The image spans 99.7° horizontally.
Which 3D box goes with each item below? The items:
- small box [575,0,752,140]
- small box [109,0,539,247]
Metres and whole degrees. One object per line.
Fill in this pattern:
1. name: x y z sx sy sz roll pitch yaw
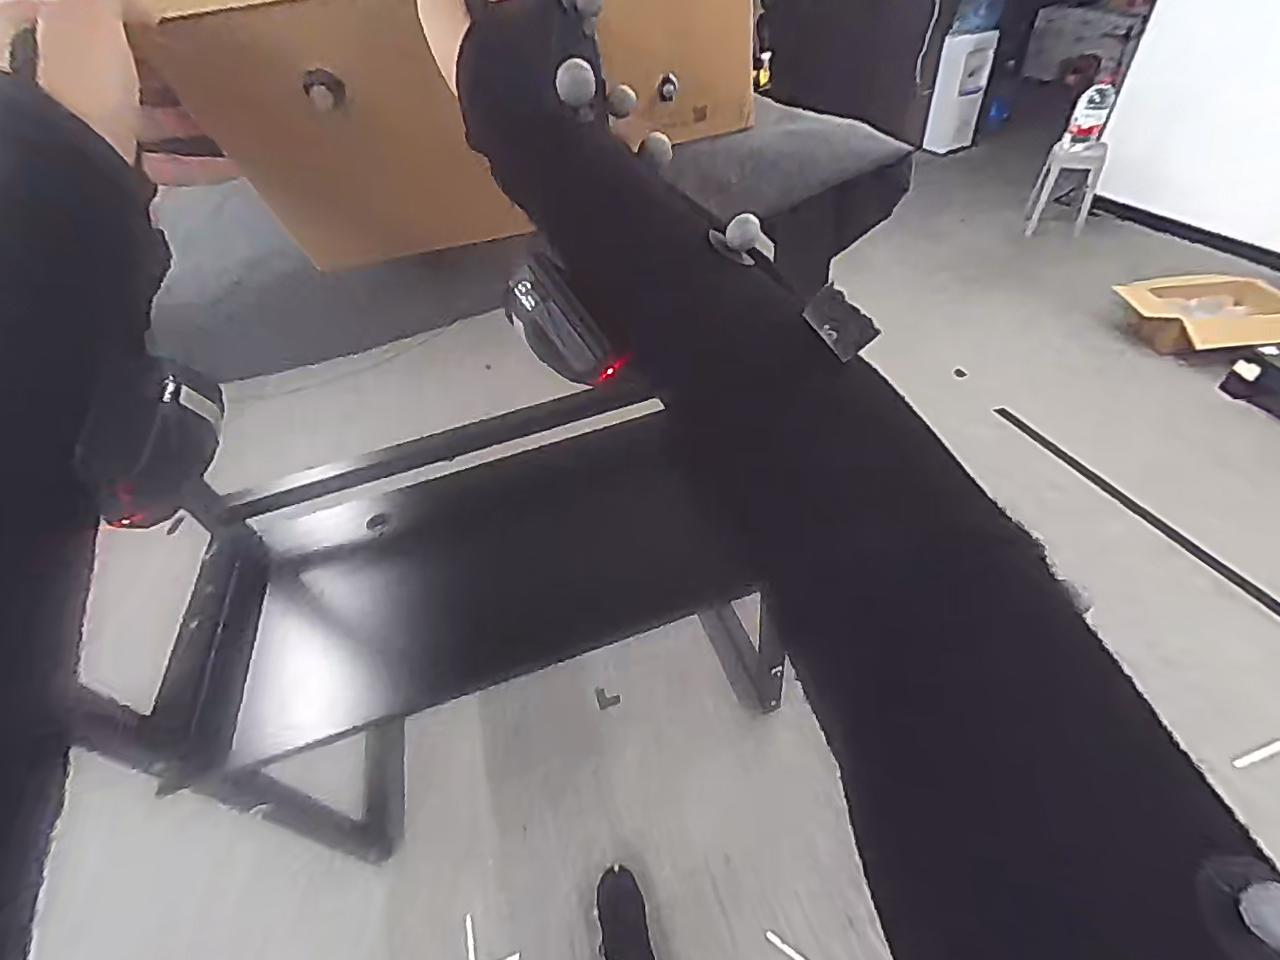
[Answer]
1. small box: 0.020 -0.505 0.610 0.168 0.176 0.179 -14 45 -3
2. small box: -0.180 -0.284 0.362 0.179 0.176 0.168 -12 68 -2
